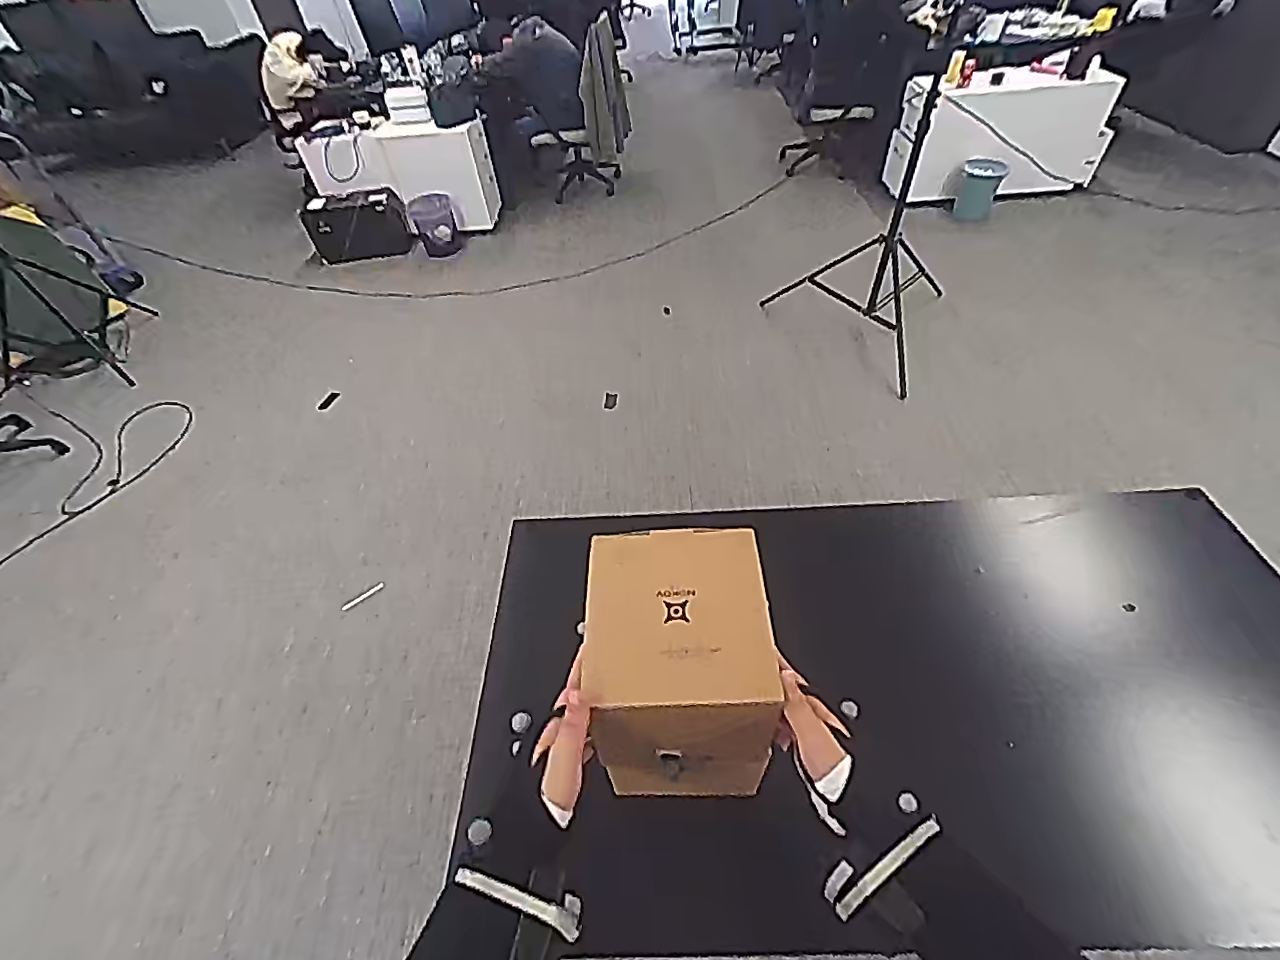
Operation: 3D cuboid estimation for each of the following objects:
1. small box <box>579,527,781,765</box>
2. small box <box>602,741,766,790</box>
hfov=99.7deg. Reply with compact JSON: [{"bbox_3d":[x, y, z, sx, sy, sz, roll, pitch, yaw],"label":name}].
[{"bbox_3d":[0.037,0.168,0.548,0.168,0.176,0.179,-3,46,3],"label":"small box"},{"bbox_3d":[0.052,0.277,0.676,0.179,0.176,0.168,-1,48,3],"label":"small box"}]
